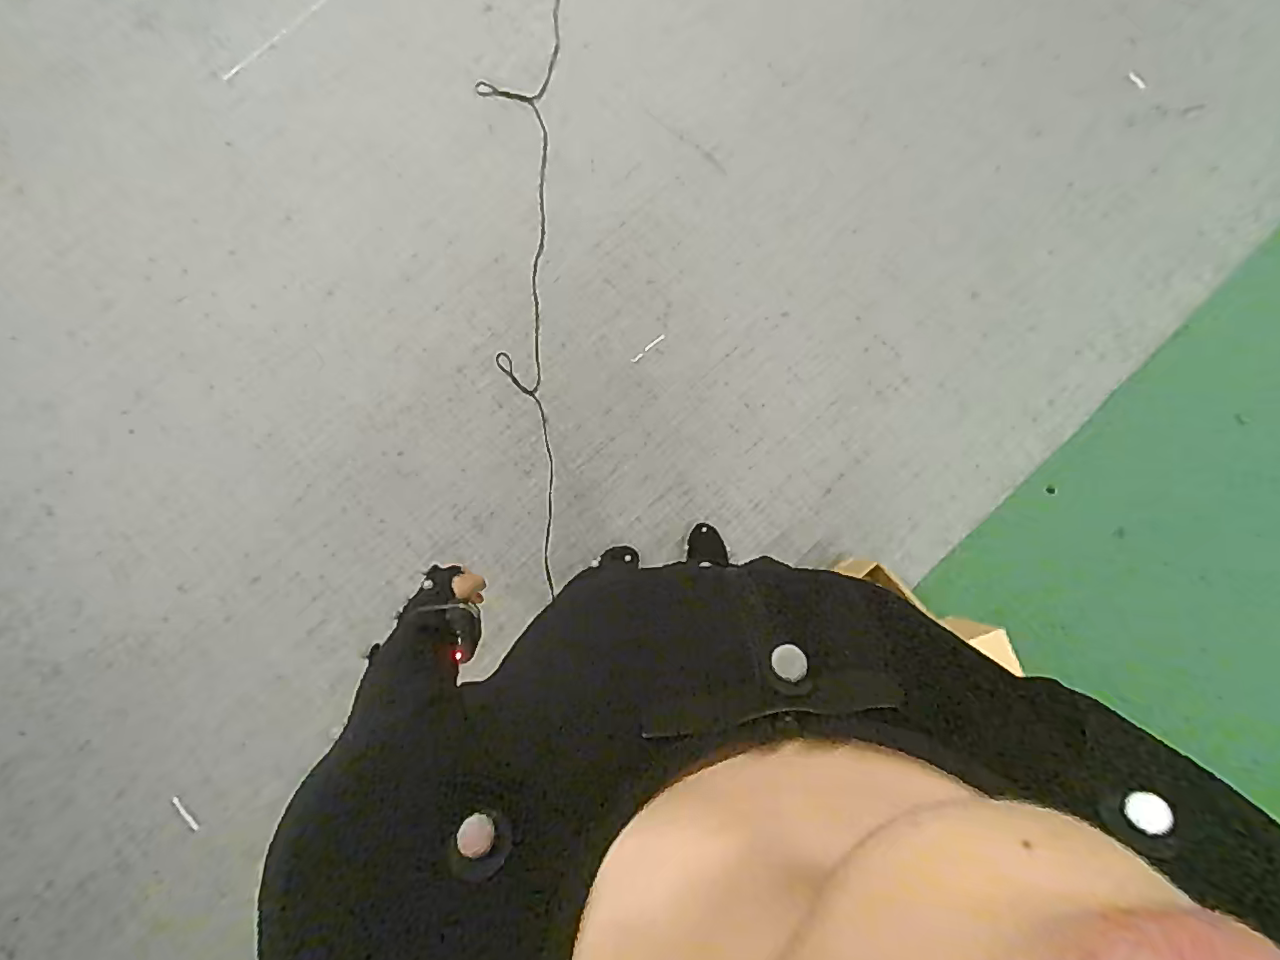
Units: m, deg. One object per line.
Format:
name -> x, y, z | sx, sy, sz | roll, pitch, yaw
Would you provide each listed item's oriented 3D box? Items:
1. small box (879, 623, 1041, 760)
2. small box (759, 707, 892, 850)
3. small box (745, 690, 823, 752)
small box -> 0.573, 0.375, 0.997 | 0.168, 0.176, 0.179 | -19, 84, -2
small box -> 0.379, 0.610, 1.135 | 0.179, 0.176, 0.168 | 43, 82, 7
small box -> 0.379, 0.636, 1.296 | 0.168, 0.176, 0.179 | -36, 83, -5
